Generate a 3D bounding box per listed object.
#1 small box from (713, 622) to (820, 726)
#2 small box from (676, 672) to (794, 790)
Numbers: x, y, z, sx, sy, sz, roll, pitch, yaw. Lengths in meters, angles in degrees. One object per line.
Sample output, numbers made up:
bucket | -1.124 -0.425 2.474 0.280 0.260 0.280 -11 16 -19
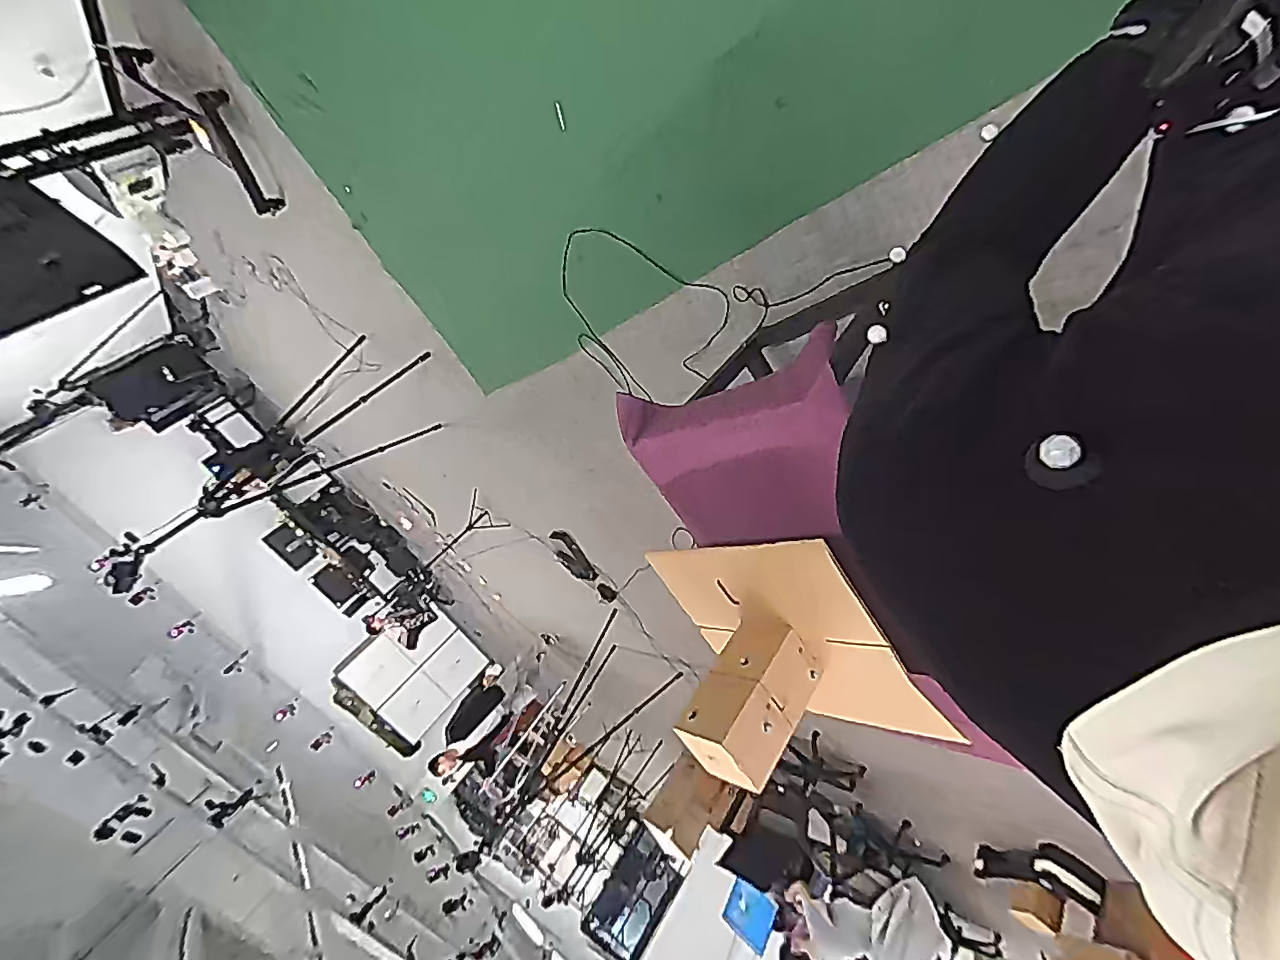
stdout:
small box | 0.323 0.473 1.347 0.168 0.176 0.179 54 147 -14
small box | 0.224 0.574 1.263 0.179 0.176 0.168 -15 115 53
